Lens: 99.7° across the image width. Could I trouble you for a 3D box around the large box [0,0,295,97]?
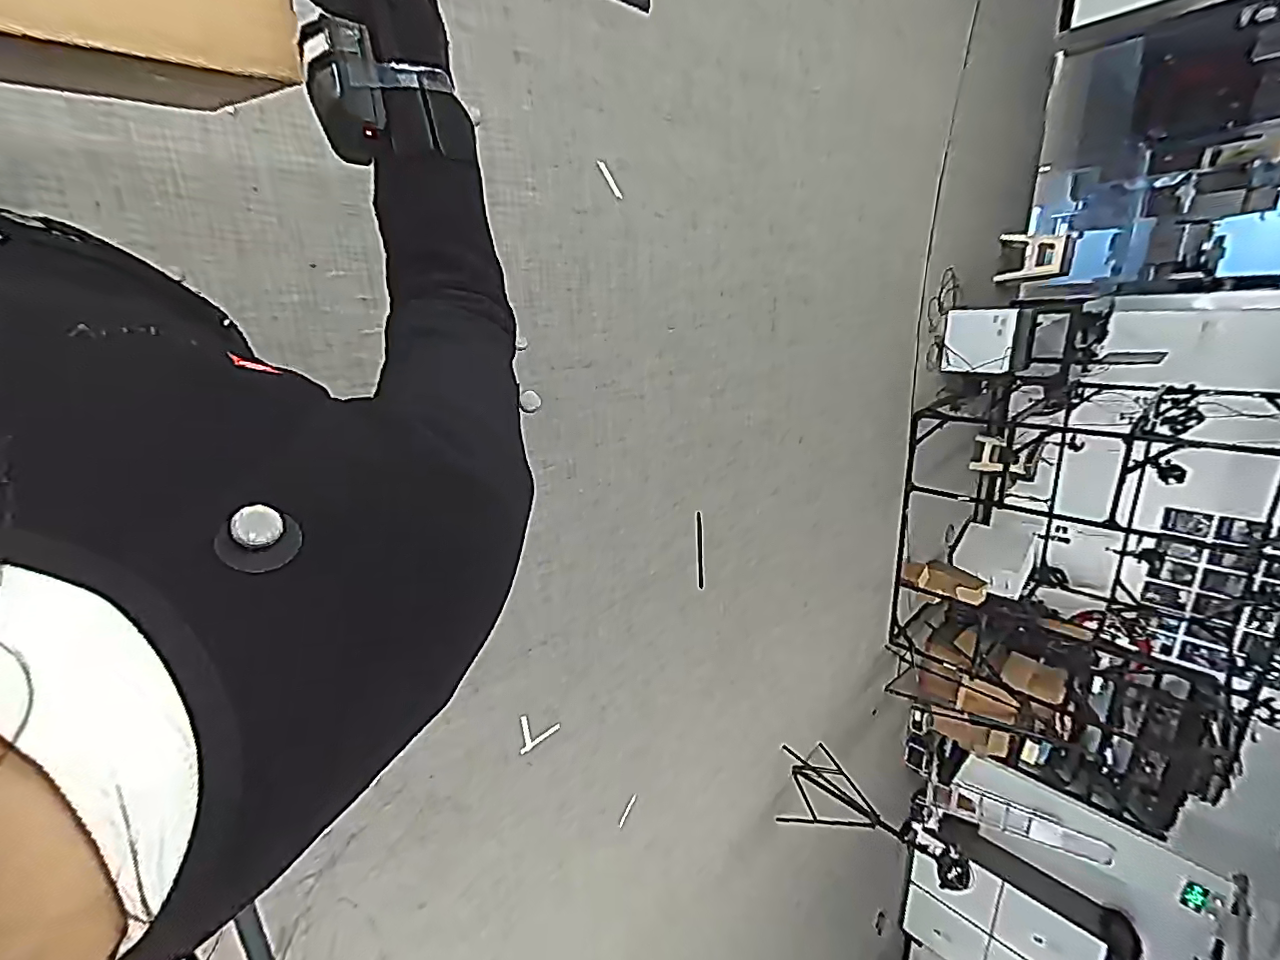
[{"bbox_3d":[-0.458,-0.398,0.247,0.408,0.320,0.320,-21,128,-40],"label":"large box"}]
